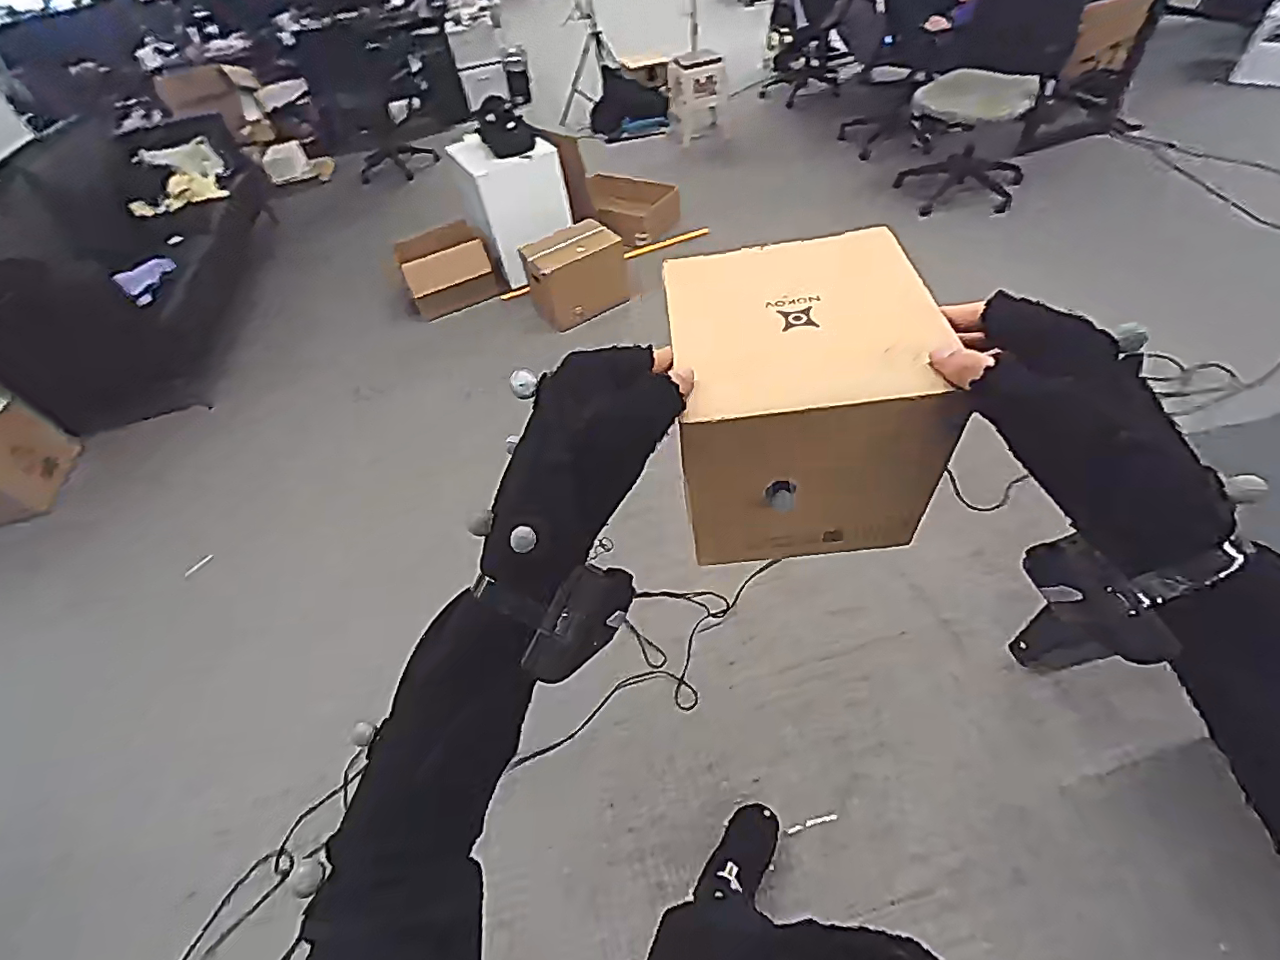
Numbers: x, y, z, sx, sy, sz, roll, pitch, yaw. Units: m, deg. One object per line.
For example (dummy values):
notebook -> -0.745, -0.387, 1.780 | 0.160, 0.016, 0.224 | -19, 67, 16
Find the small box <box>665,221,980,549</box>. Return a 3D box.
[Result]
small box -> 0.113, -0.059, 0.406 | 0.168, 0.176, 0.179 | -6, 51, 6

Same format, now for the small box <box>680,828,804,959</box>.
small box -> 0.204, 0.852, 1.091 | 0.179, 0.176, 0.168 | -42, 70, -7
